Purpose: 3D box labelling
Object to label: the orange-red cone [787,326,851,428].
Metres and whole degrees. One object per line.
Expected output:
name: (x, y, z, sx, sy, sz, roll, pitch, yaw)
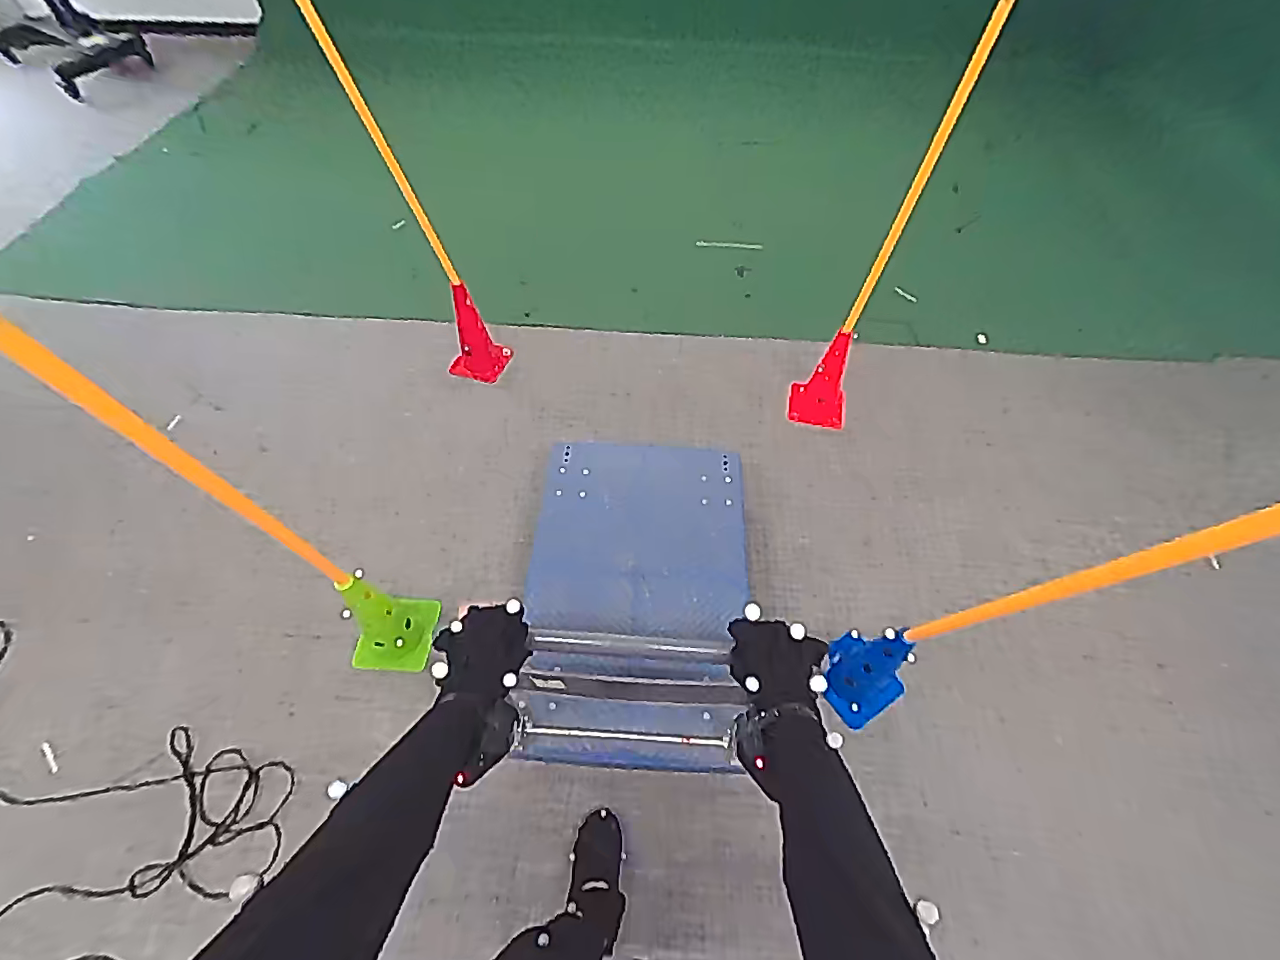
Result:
orange-red cone: (0.652, -0.376, 1.858, 0.198, 0.360, 0.199, 13, 57, 9)
